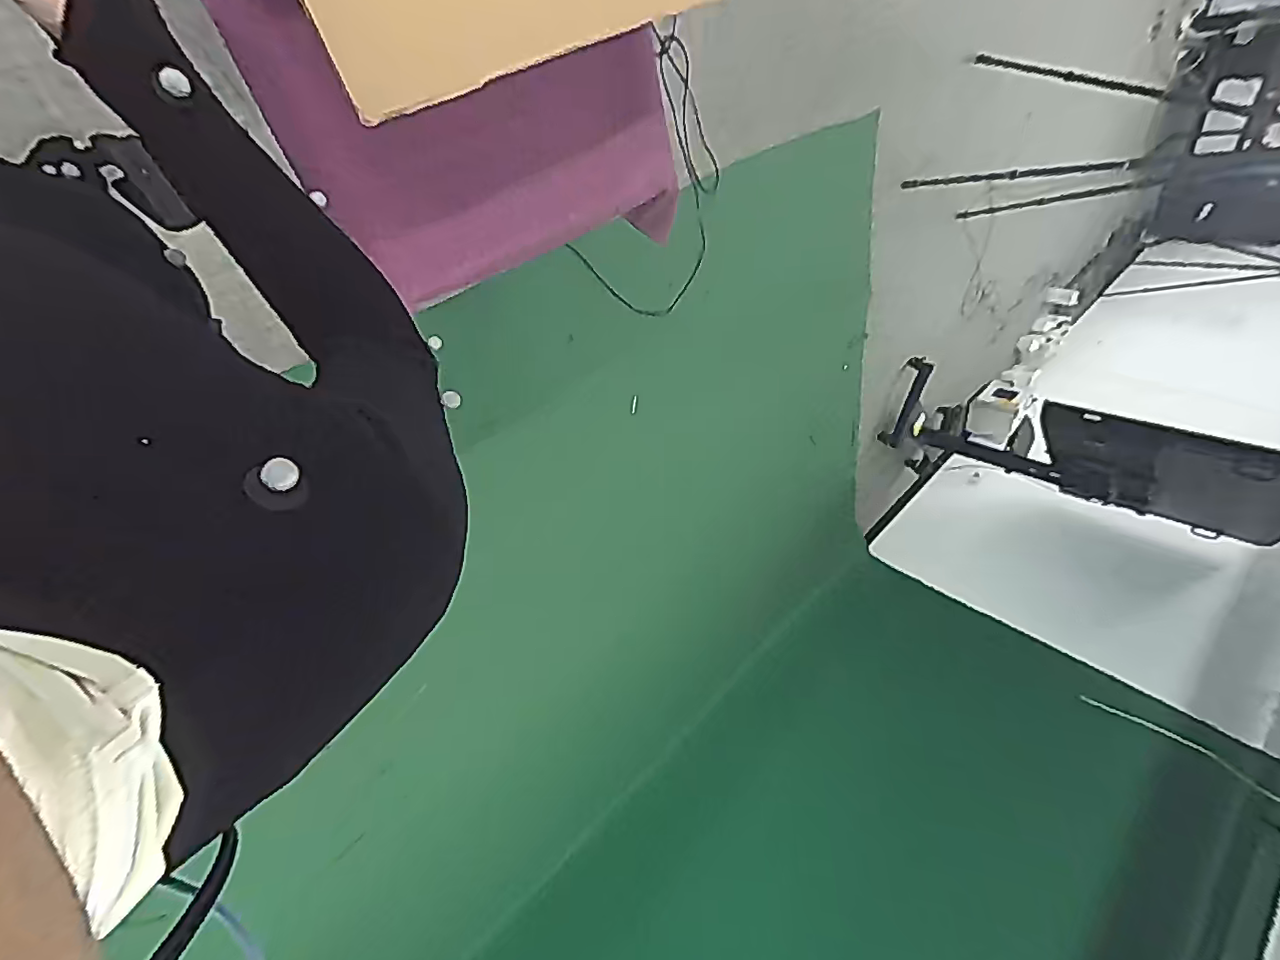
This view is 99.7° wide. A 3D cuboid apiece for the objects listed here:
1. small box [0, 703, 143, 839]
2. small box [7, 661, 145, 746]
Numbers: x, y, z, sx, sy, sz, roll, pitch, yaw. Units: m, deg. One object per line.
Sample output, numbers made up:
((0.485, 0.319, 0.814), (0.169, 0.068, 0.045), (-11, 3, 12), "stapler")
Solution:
((-1.255, 0.638, 1.202), (0.168, 0.176, 0.179), (-32, 130, -28), "small box")
((-1.357, 0.579, 1.317), (0.168, 0.176, 0.179), (-34, 131, -26), "small box")
